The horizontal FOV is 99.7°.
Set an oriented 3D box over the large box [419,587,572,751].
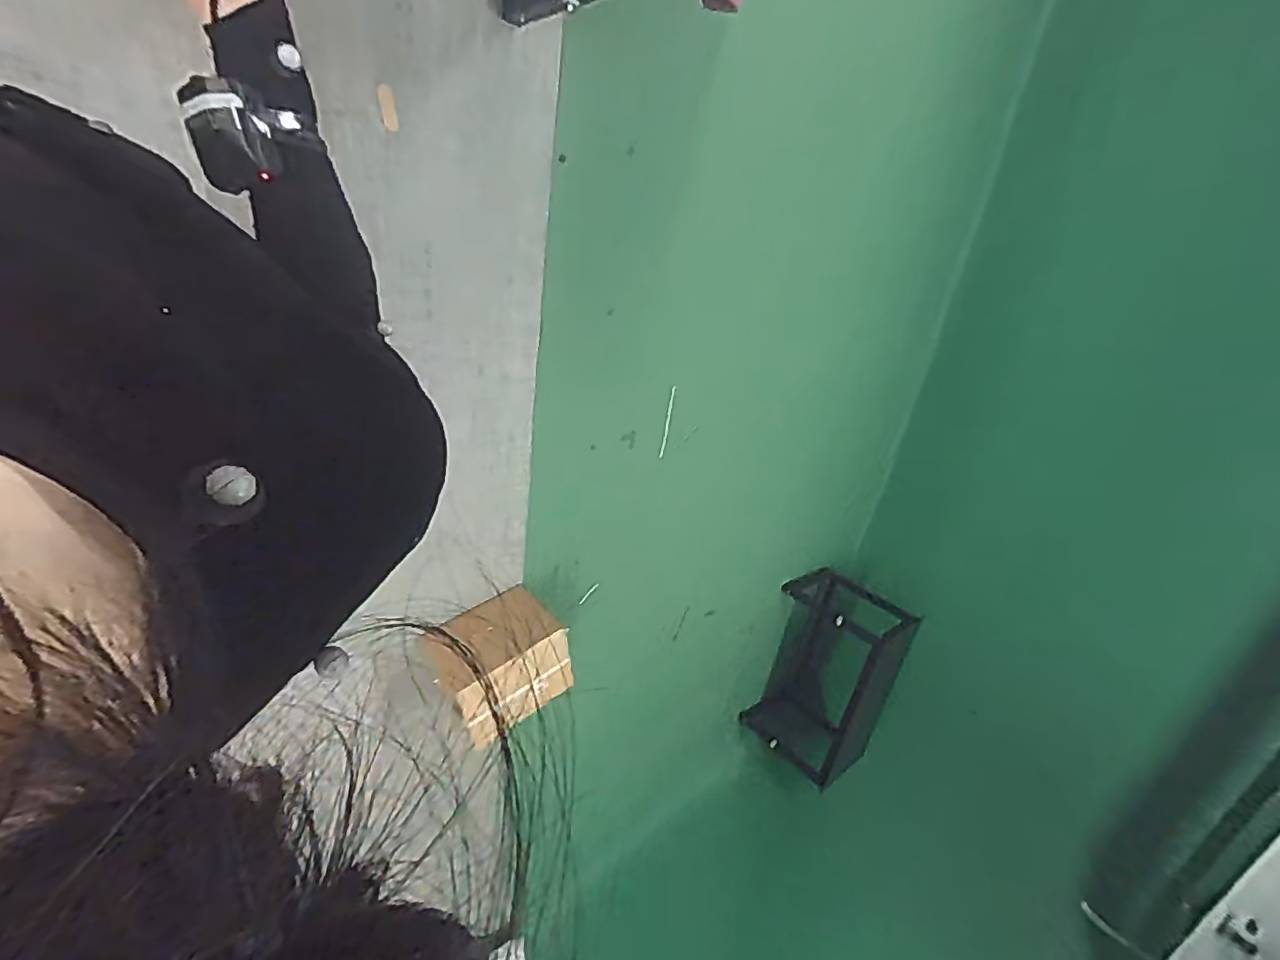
[{"bbox_3d":[-0.511,0.660,1.944,0.408,0.320,0.320,-27,130,-34],"label":"large box"}]
